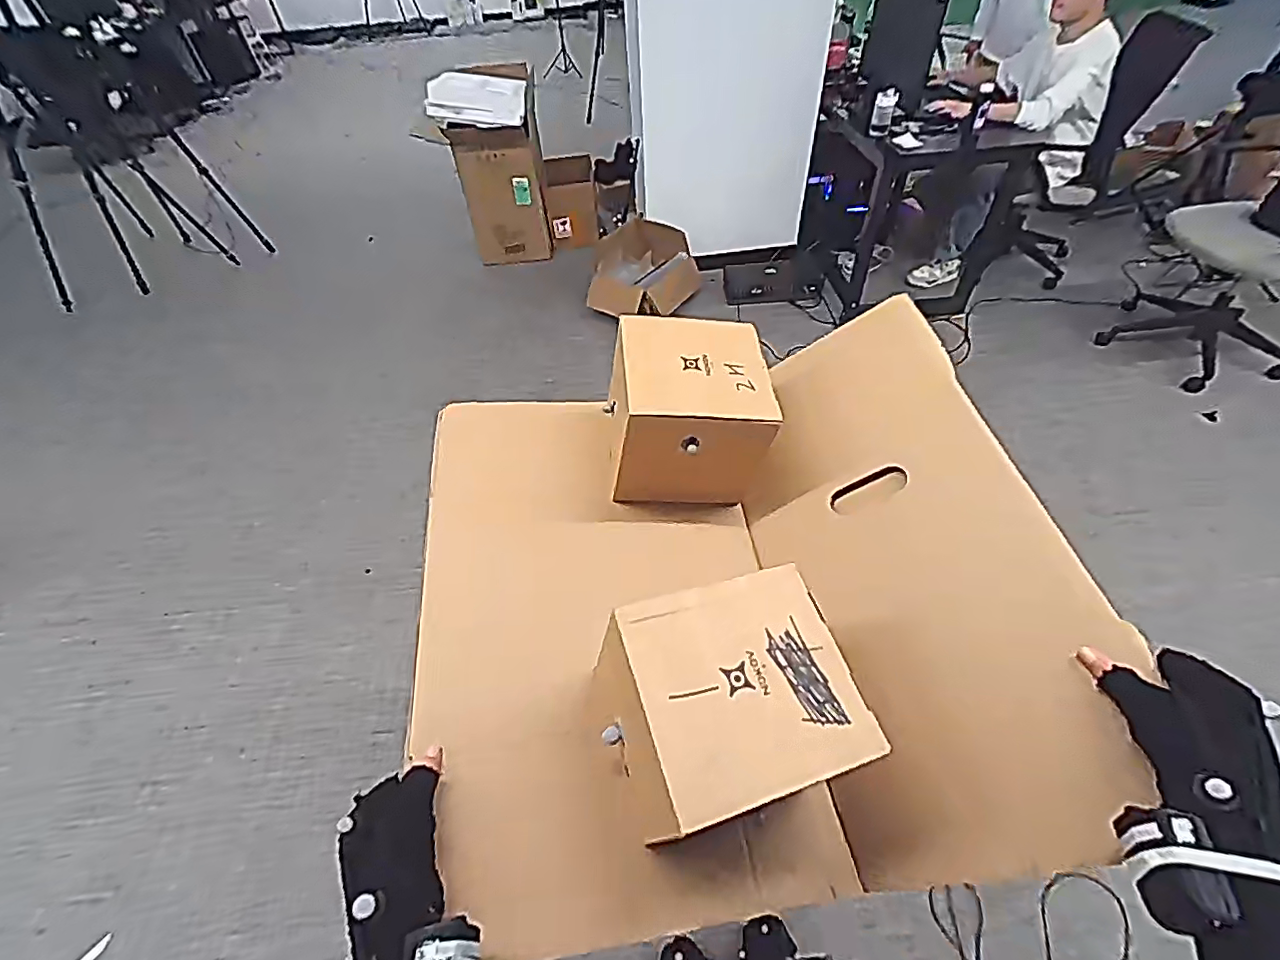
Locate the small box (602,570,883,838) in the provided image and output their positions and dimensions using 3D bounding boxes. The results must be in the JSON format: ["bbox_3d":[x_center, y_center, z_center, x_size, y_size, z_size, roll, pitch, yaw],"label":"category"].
[{"bbox_3d":[0.073,0.207,0.498,0.179,0.176,0.168,-11,57,-17],"label":"small box"}]

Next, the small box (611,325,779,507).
[{"bbox_3d":[0.055,-0.077,0.701,0.179,0.176,0.168,2,54,-10],"label":"small box"}]
